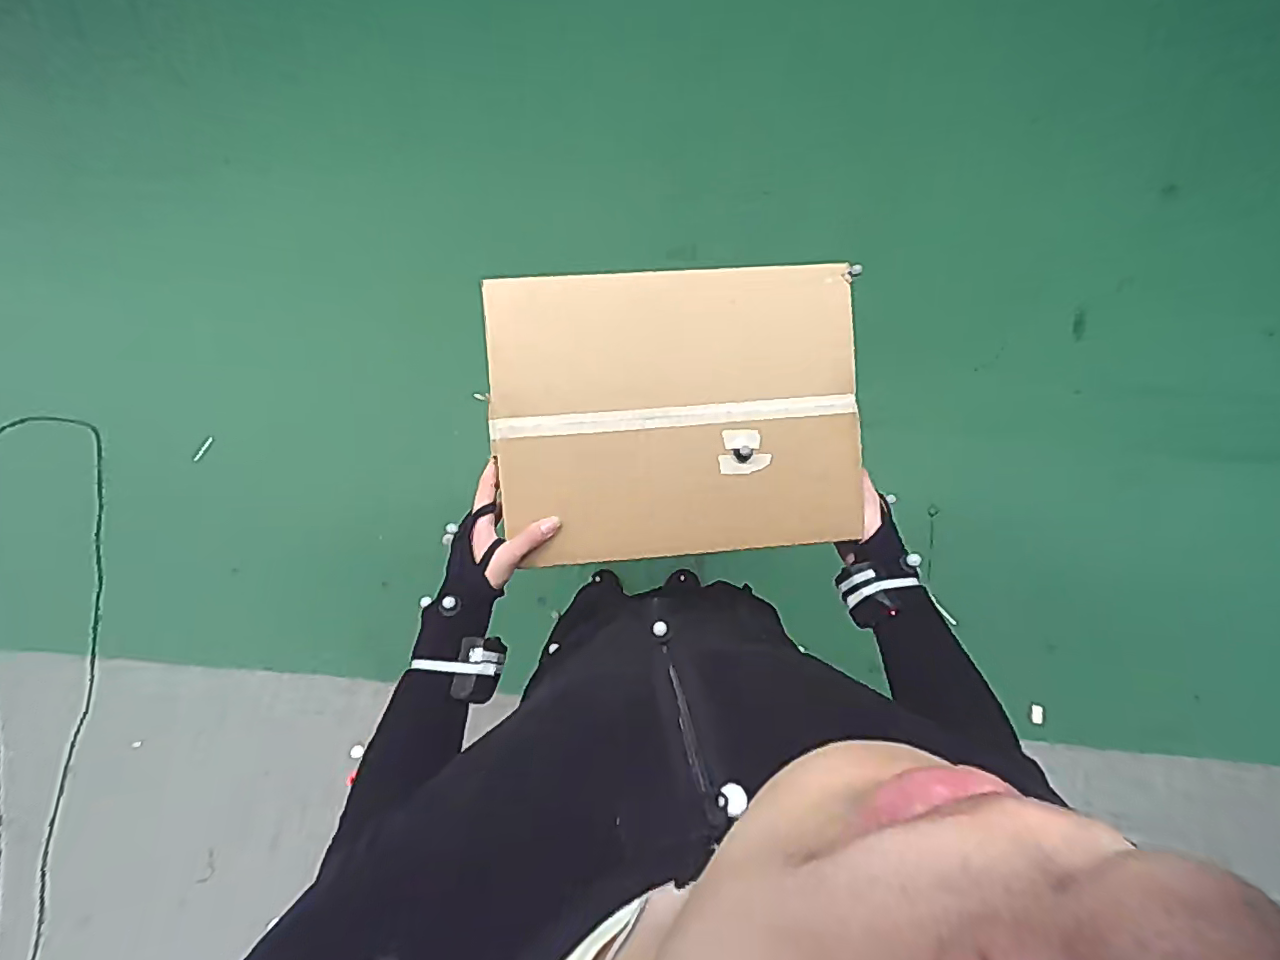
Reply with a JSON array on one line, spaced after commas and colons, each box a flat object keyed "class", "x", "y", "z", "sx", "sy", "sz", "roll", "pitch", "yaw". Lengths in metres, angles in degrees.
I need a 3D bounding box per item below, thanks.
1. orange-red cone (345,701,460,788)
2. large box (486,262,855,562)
[{"class": "orange-red cone", "x": -0.649, "y": 0.725, "z": 1.408, "sx": 0.199, "sy": 0.360, "sz": 0.198, "roll": 11, "pitch": 79, "yaw": 6}, {"class": "large box", "x": 0.027, "y": -0.084, "z": 0.754, "sx": 0.408, "sy": 0.320, "sz": 0.320, "roll": -5, "pitch": 94, "yaw": -5}]
